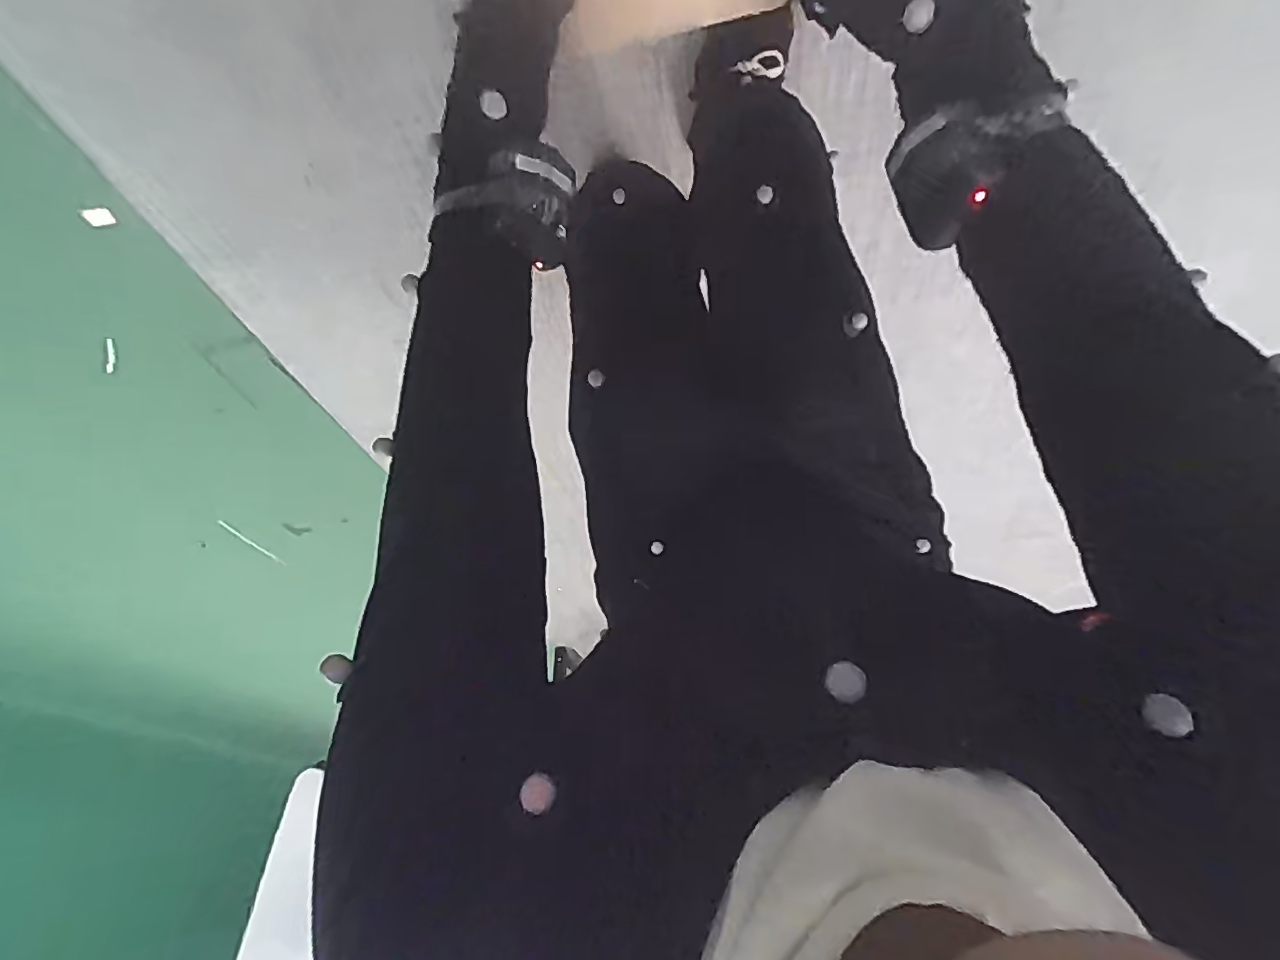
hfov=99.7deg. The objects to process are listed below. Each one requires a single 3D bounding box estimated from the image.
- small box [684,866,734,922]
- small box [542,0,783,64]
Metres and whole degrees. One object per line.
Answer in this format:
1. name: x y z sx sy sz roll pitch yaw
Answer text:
1. small box: 0.272 1.630 2.137 0.179 0.176 0.168 -8 145 11
2. small box: 0.000 -0.441 0.397 0.179 0.176 0.168 -11 137 4
